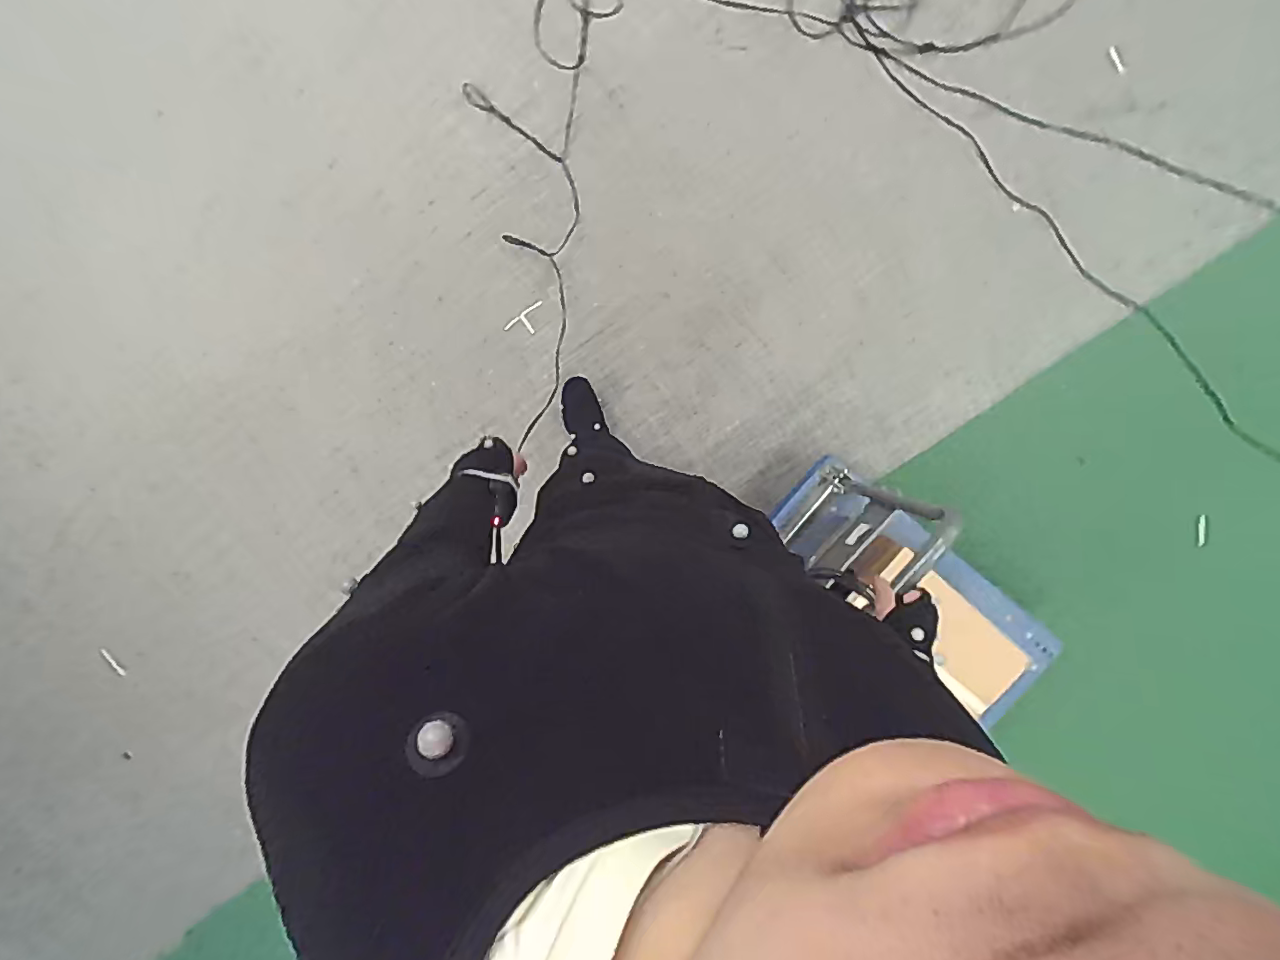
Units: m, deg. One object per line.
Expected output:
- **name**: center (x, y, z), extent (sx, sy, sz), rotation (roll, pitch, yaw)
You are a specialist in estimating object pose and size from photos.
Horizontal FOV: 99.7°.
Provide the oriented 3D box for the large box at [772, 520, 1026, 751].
- **large box**: center (0.605, 0.358, 1.339), extent (0.408, 0.320, 0.320), rotation (41, 96, -6)
